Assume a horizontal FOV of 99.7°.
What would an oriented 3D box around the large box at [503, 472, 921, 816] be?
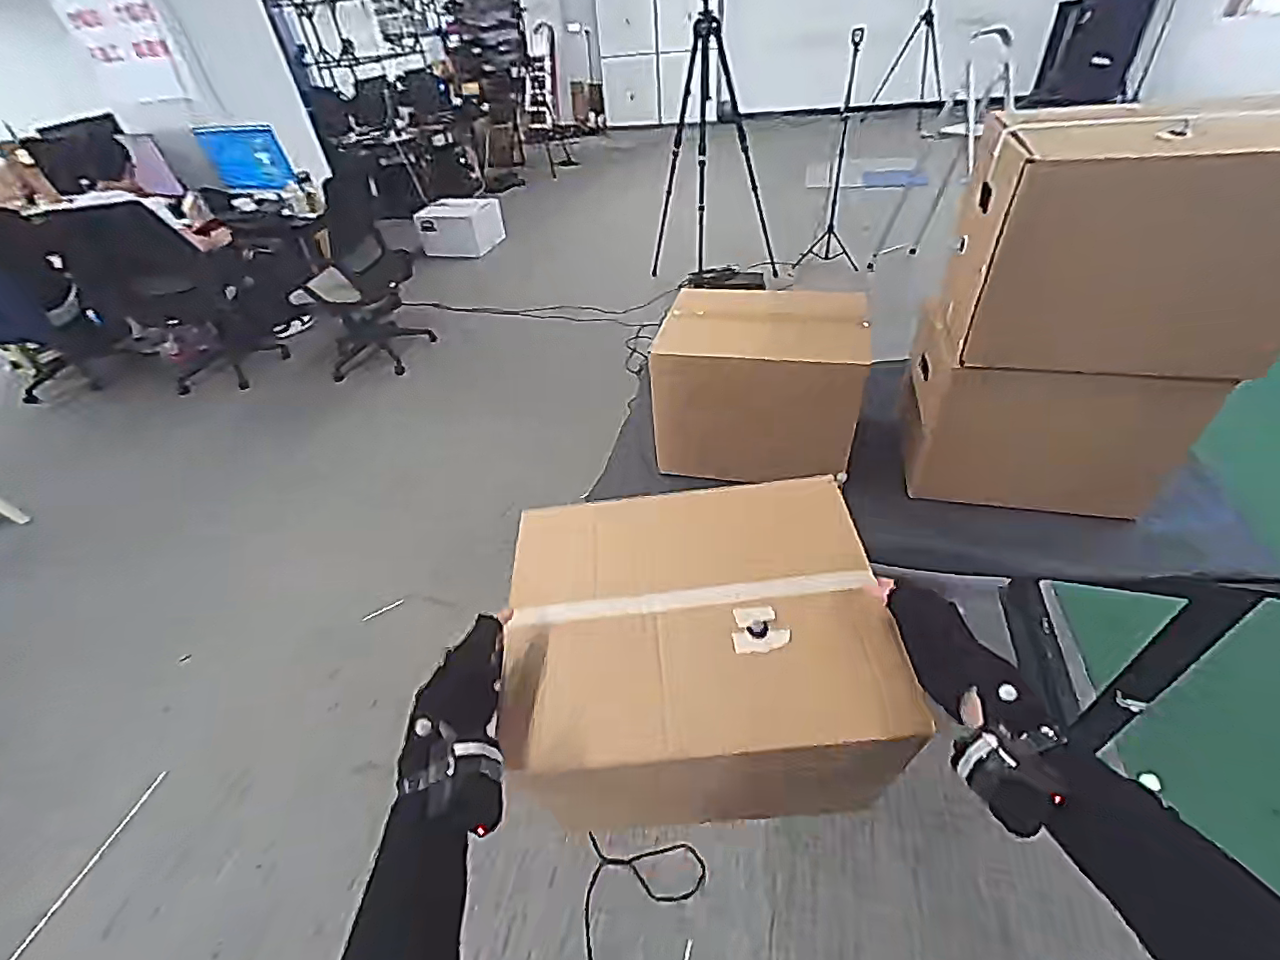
[{"bbox_3d":[0.069,0.221,0.712,0.408,0.320,0.320,-6,49,2],"label":"large box"}]
